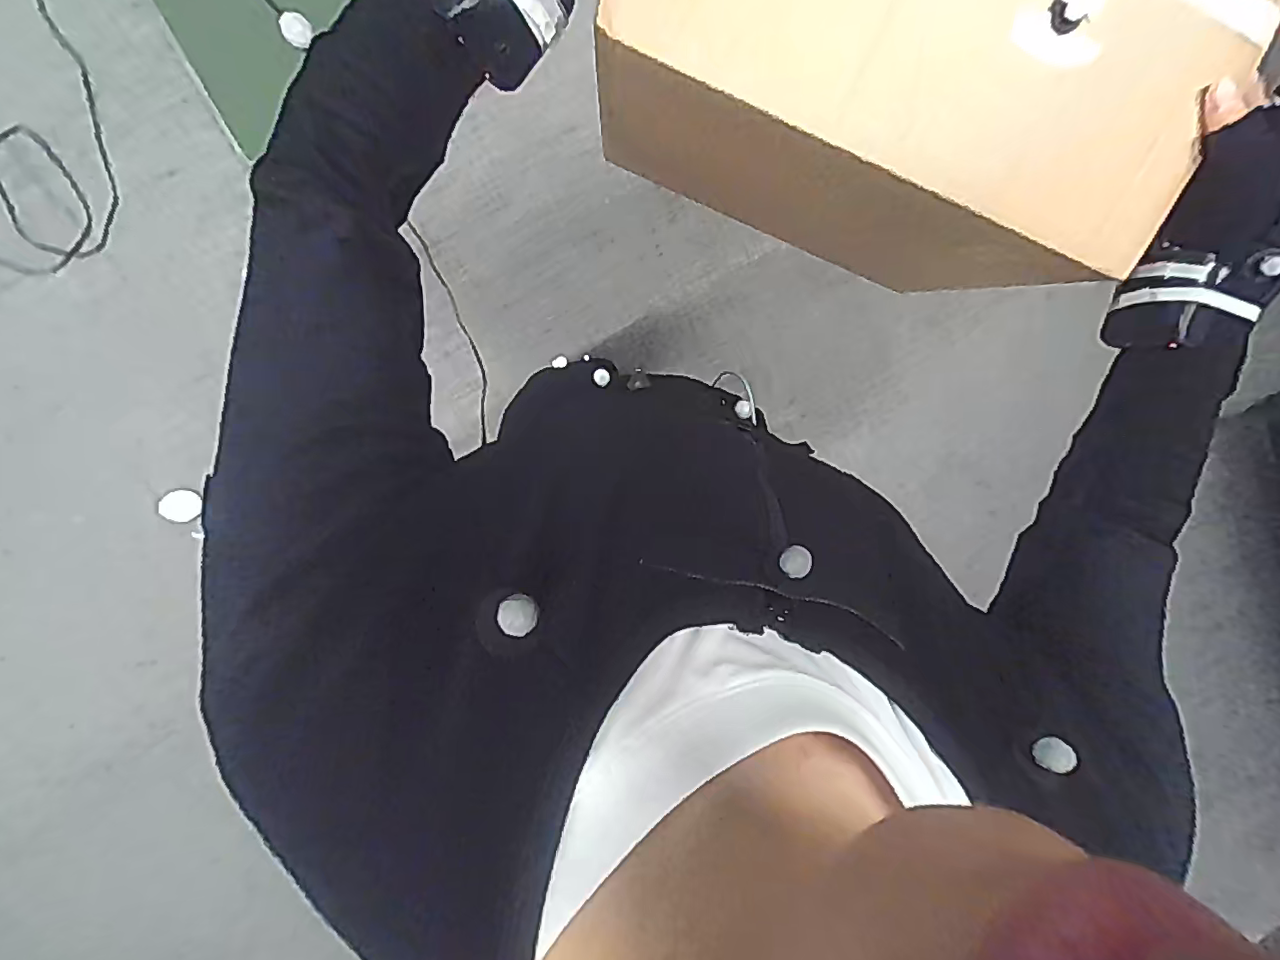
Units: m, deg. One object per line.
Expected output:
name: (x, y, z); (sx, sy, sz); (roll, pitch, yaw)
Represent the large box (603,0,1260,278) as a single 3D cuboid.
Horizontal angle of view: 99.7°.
large box: (0.201, -0.403, 0.468); (0.408, 0.320, 0.320); (18, 106, -9)
